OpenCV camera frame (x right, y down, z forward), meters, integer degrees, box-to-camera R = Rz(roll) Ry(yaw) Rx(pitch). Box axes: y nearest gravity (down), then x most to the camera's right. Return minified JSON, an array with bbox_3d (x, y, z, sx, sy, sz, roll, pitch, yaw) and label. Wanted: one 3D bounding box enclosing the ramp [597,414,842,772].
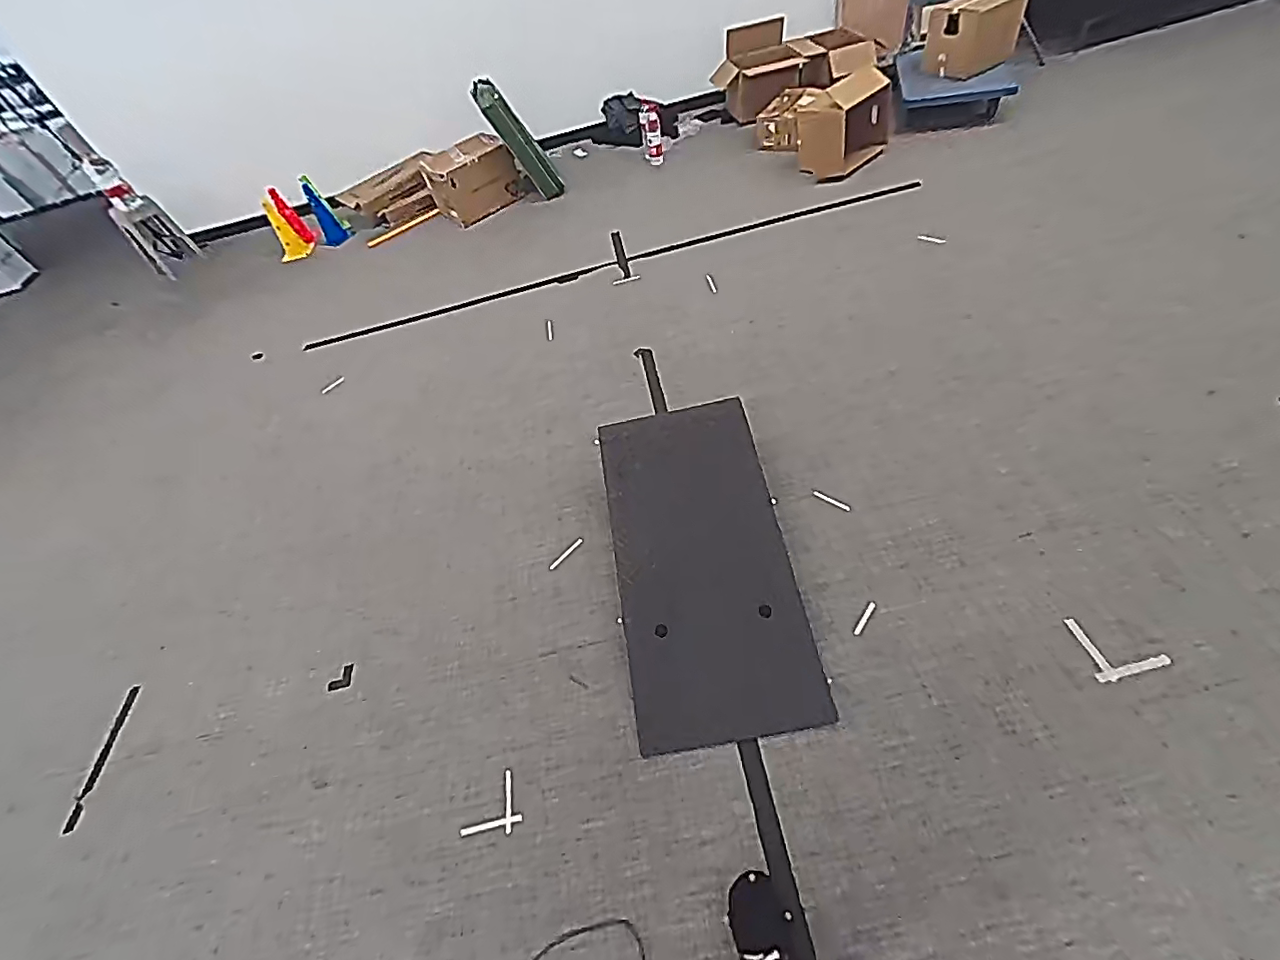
[{"bbox_3d":[0.176,0.251,1.577,0.509,0.206,0.991,-14,48,1],"label":"ramp"}]
